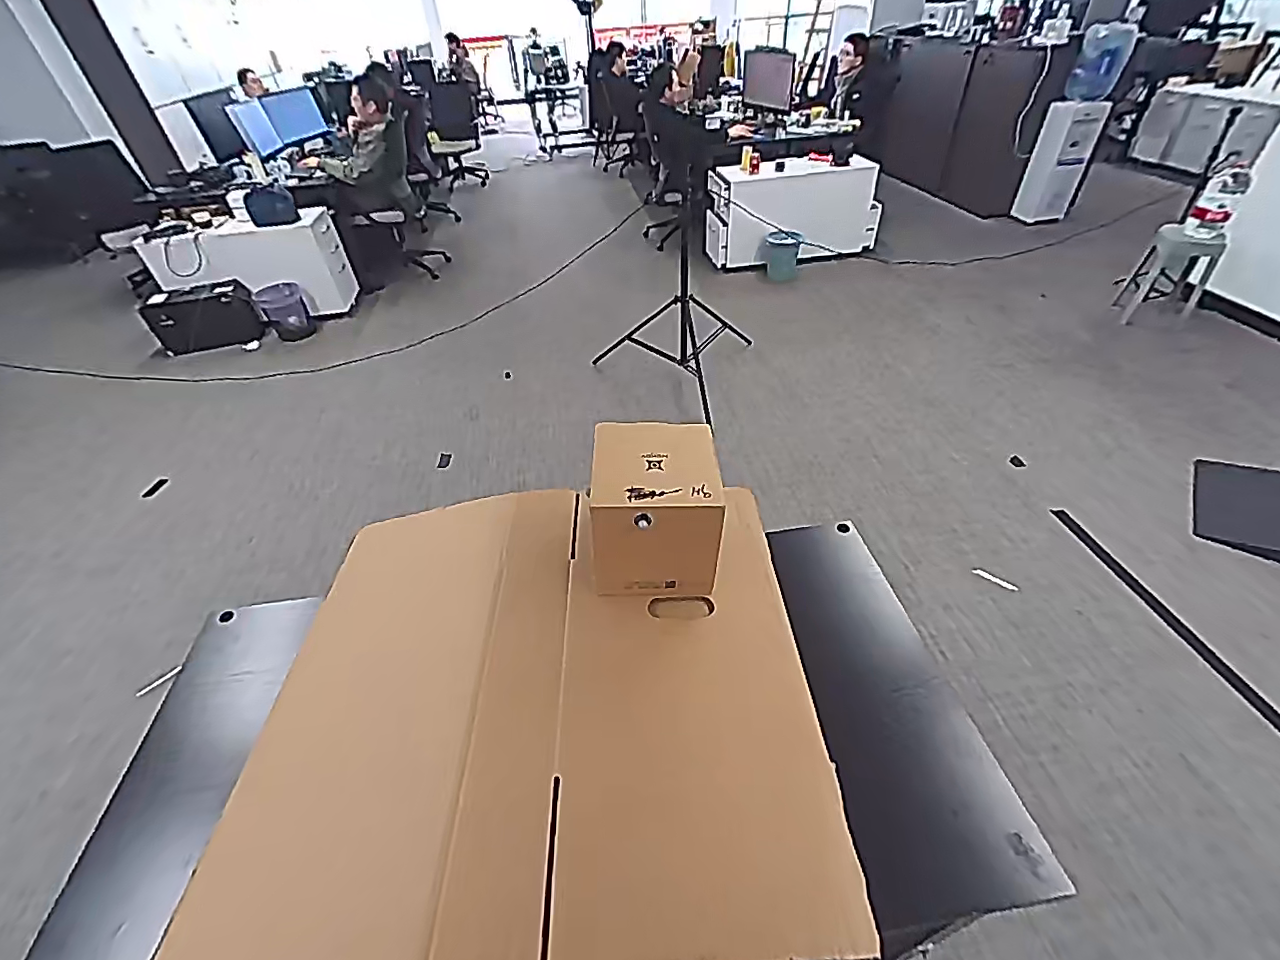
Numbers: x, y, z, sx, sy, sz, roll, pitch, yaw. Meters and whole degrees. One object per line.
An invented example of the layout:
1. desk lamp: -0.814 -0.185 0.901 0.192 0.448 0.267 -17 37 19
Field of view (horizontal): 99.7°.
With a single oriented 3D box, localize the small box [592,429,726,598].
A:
1. small box: 0.022 0.044 0.763 0.168 0.176 0.179 -1 39 -1
